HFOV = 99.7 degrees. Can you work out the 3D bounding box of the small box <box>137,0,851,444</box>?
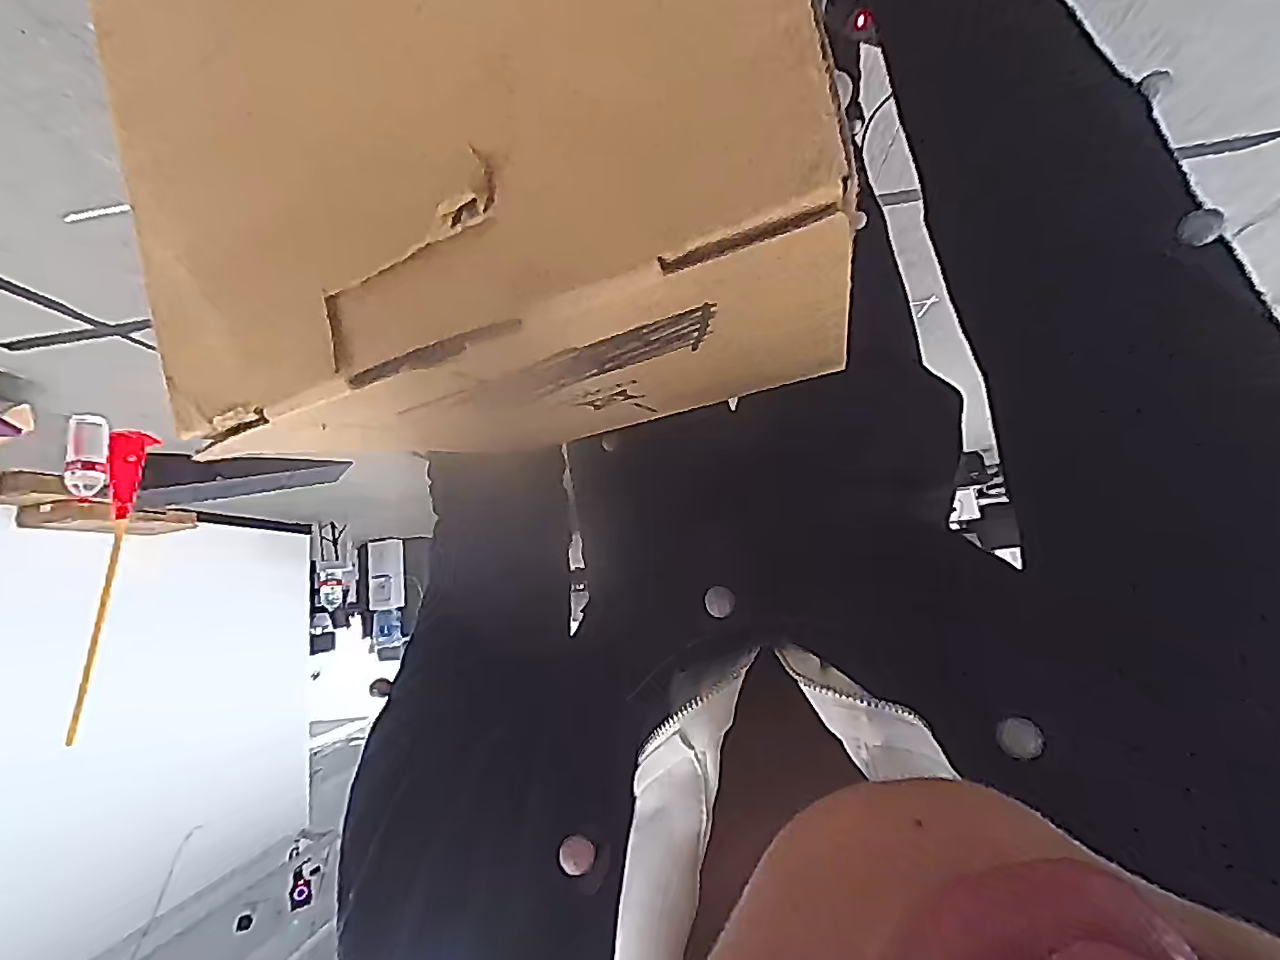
[{"bbox_3d":[-0.030,-0.116,0.195,0.168,0.176,0.179,-13,179,20],"label":"small box"}]
